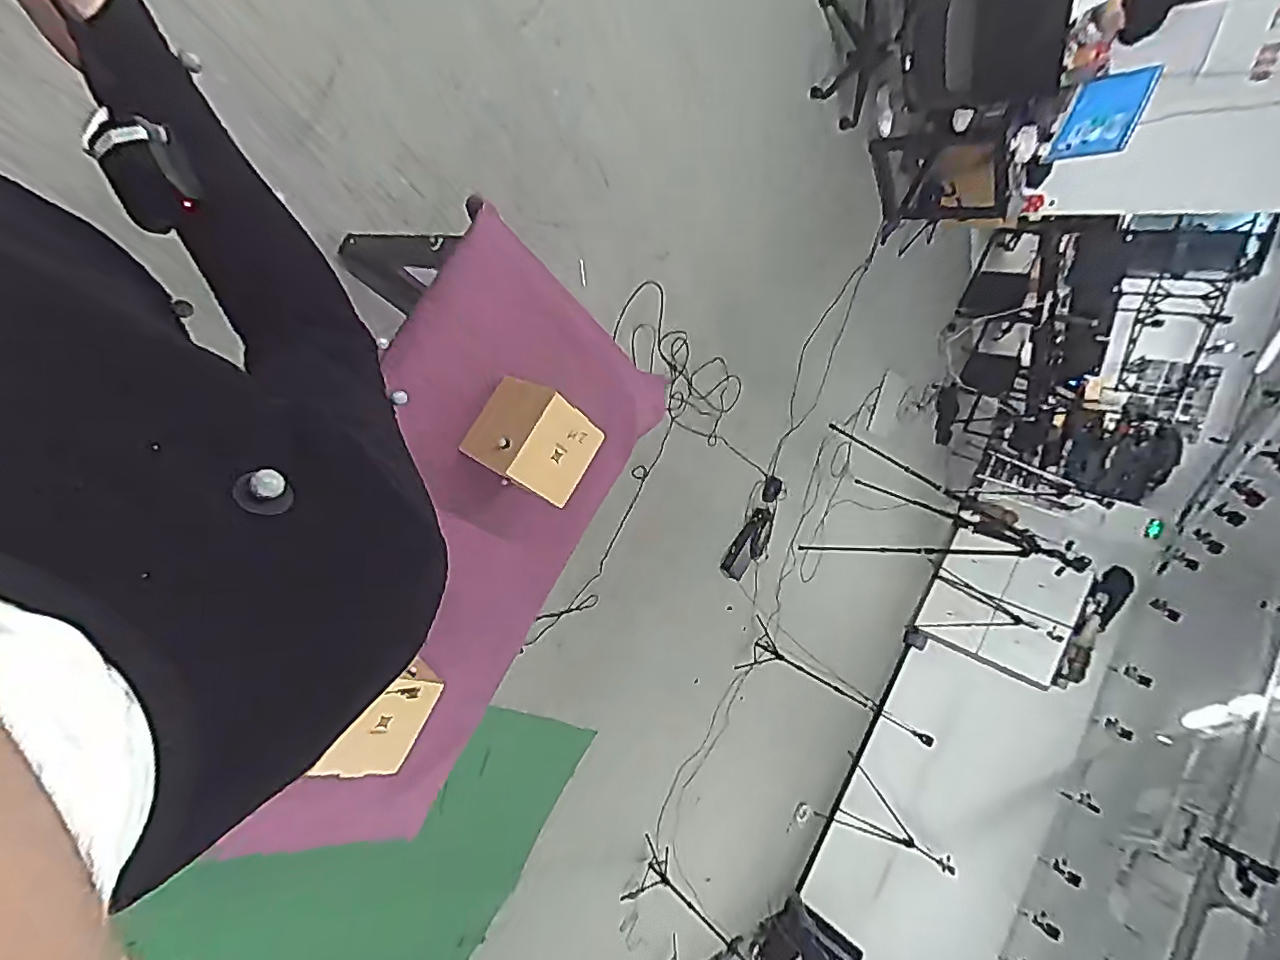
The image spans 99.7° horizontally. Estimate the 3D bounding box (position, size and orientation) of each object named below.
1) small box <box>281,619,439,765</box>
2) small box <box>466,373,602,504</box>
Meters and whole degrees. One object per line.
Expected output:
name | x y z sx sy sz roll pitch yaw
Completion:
small box | -0.504 0.377 0.965 0.168 0.176 0.179 38 78 -50
small box | -0.214 -0.084 1.066 0.179 0.176 0.168 -59 141 -9
